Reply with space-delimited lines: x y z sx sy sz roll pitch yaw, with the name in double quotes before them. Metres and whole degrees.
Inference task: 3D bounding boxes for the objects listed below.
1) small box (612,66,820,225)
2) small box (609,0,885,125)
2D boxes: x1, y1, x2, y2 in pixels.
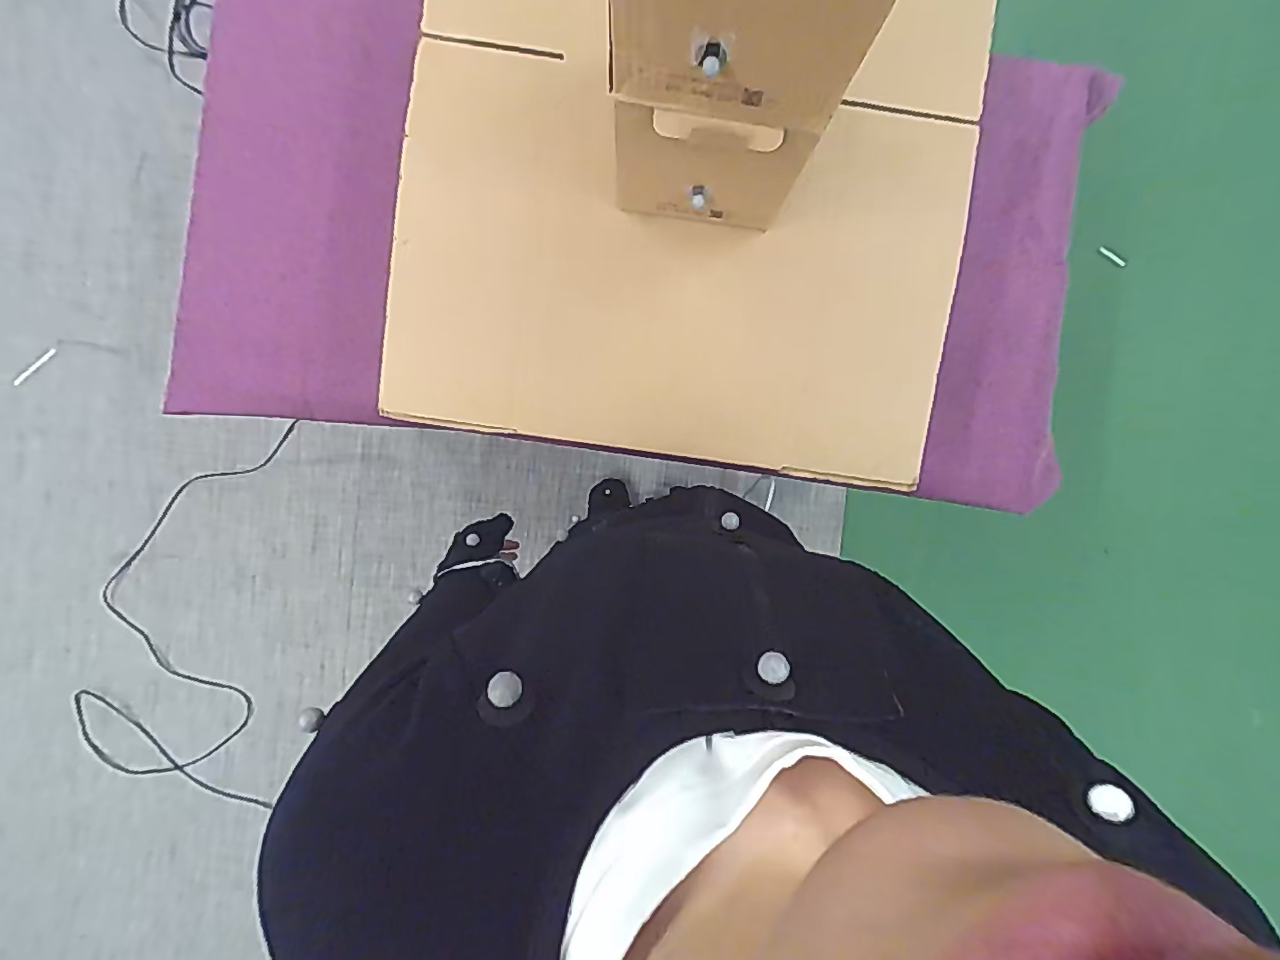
"small box" 0.067 -0.369 0.498 0.168 0.176 0.179 8 90 -1
"small box" 0.071 -0.370 0.335 0.168 0.176 0.179 8 89 -2
